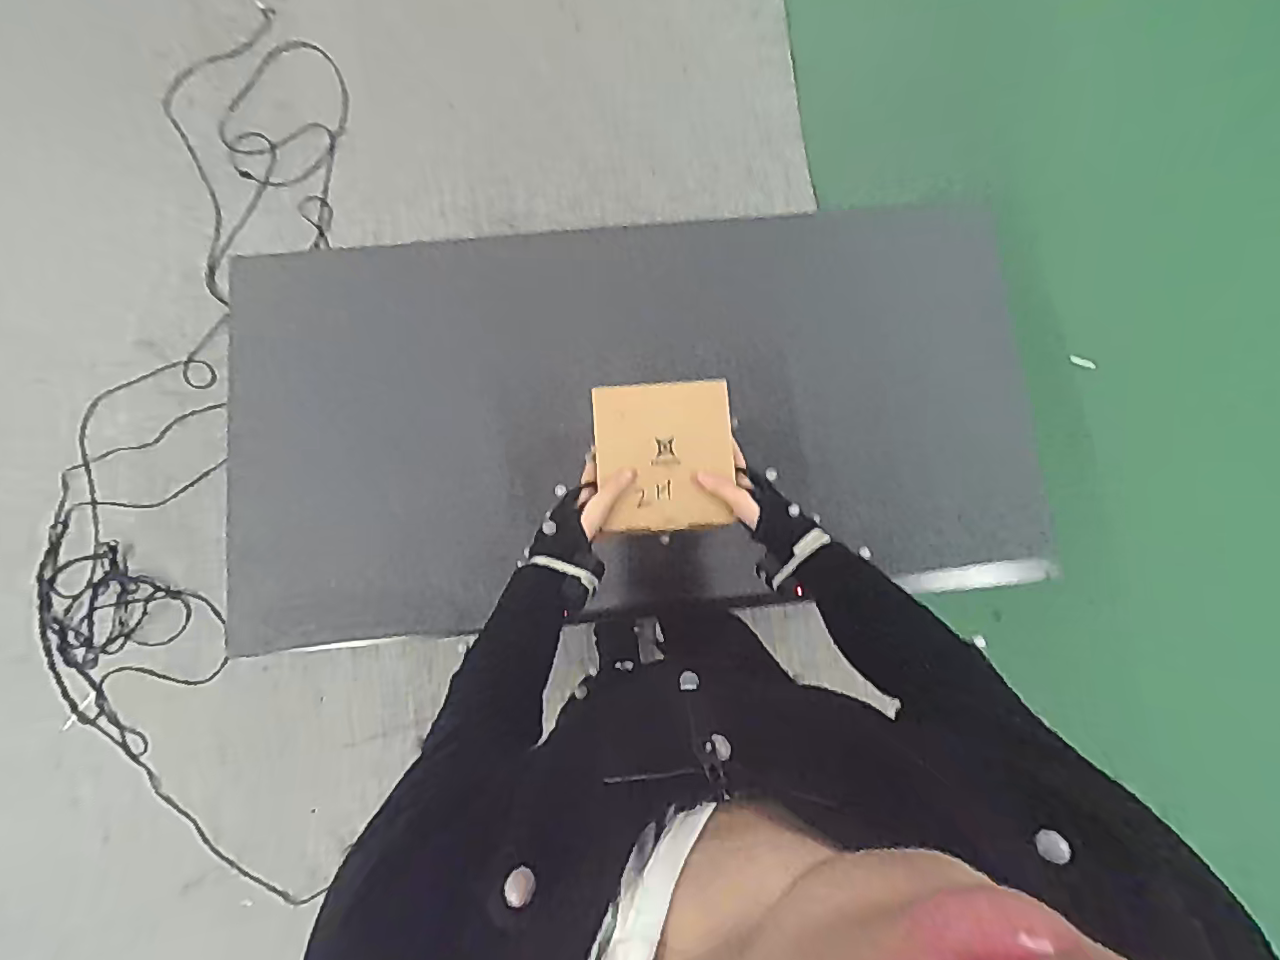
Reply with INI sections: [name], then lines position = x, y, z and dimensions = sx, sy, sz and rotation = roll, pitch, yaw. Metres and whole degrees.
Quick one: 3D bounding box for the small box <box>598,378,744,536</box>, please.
[small box]
position = 0.034, -0.021, 0.714
dimensions = 0.168, 0.176, 0.179
rotation = -4, 82, -1
